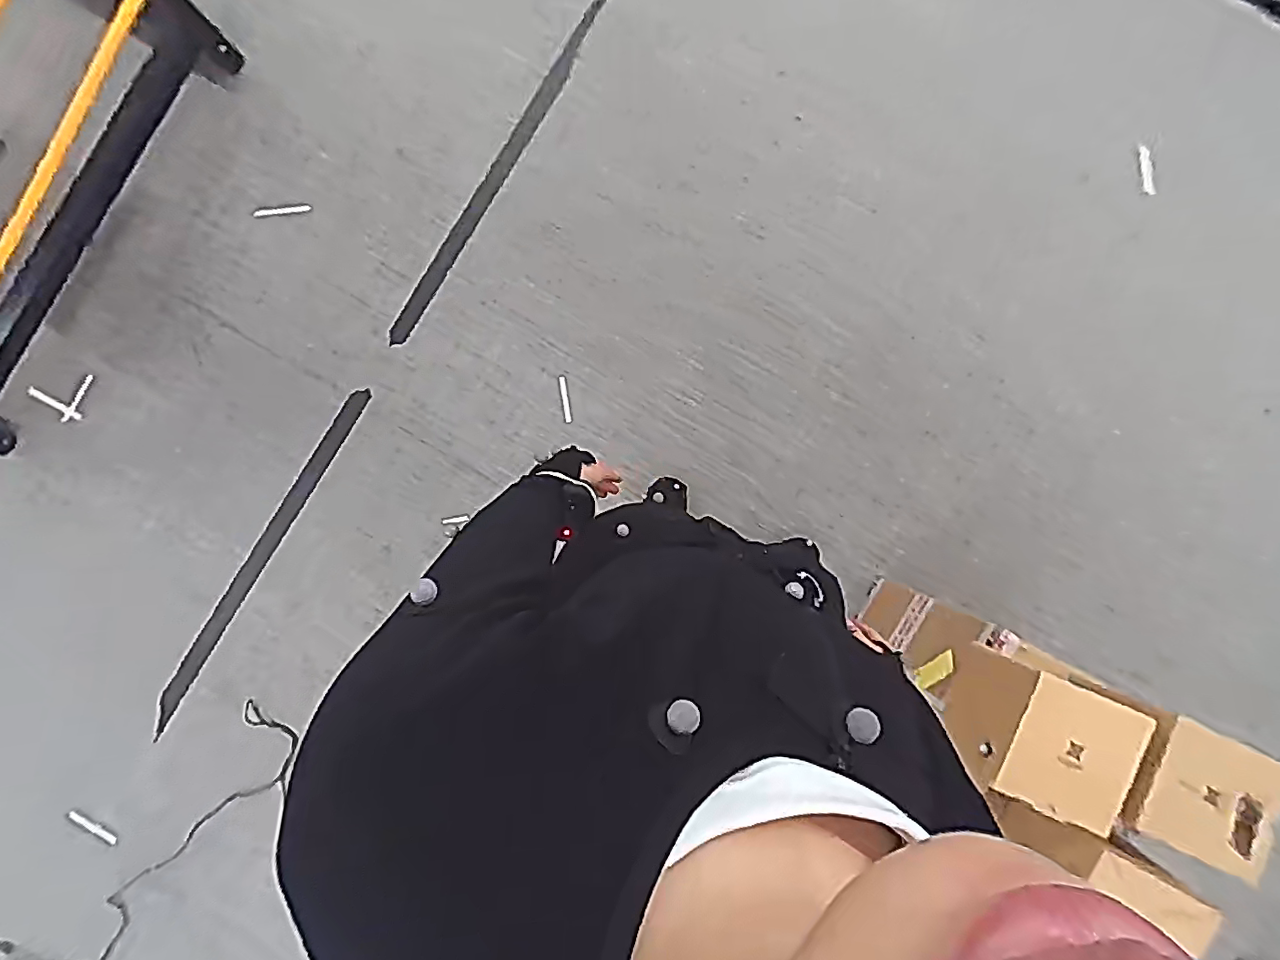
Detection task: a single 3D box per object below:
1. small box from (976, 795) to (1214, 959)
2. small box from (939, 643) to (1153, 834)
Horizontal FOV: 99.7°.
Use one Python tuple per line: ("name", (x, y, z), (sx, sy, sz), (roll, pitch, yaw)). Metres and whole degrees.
("small box", (0.657, 0.600, 0.798), (0.179, 0.176, 0.168), (29, 92, 2))
("small box", (0.587, 0.368, 0.809), (0.168, 0.176, 0.179), (23, 90, 3))
